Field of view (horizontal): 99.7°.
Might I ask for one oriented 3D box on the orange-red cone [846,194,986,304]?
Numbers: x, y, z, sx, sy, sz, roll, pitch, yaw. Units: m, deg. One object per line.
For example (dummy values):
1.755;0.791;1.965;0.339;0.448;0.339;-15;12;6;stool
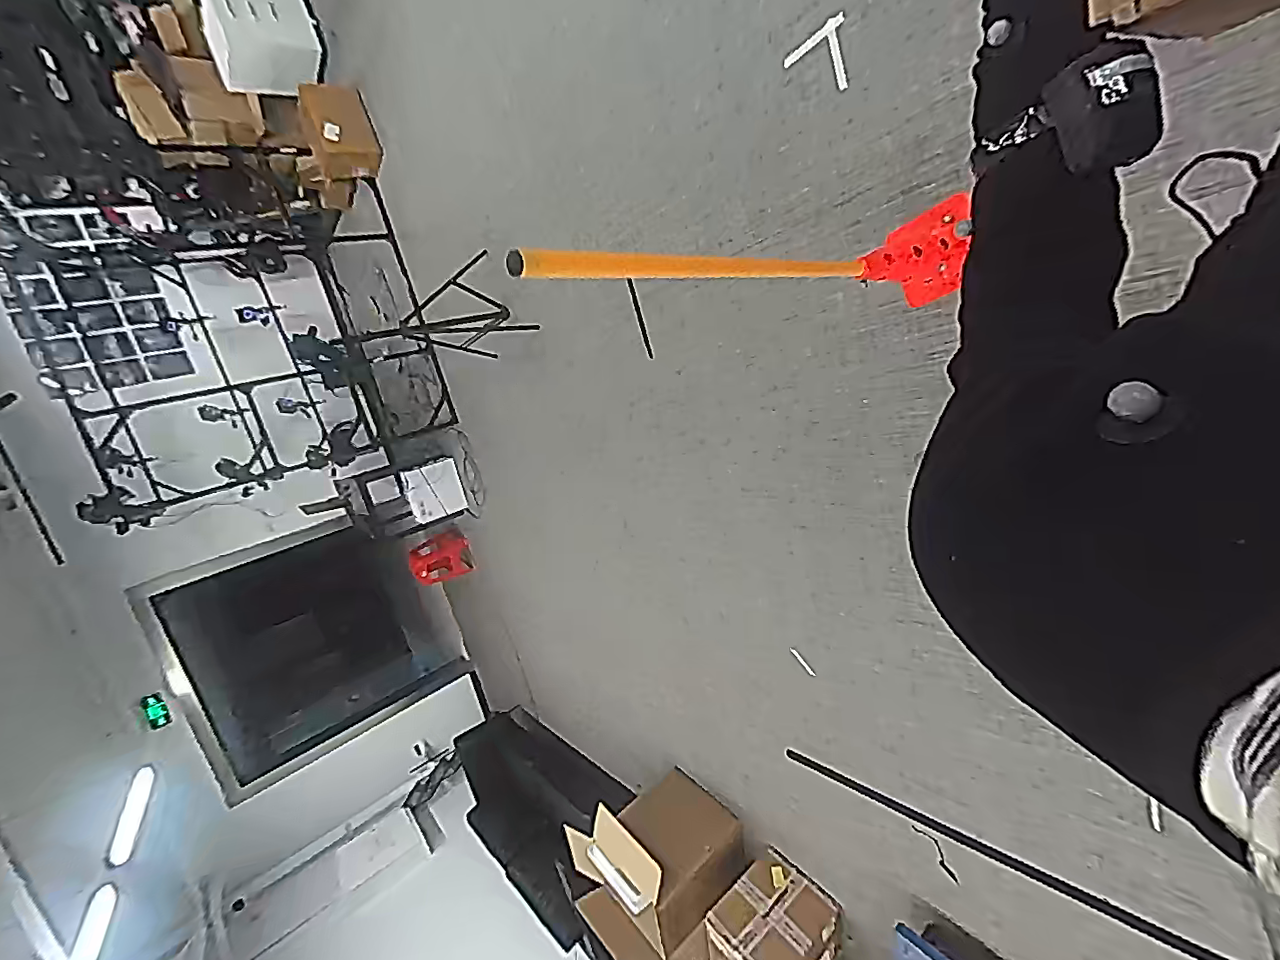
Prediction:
0.566;-0.484;1.189;0.199;0.360;0.198;-15;97;57;orange-red cone
